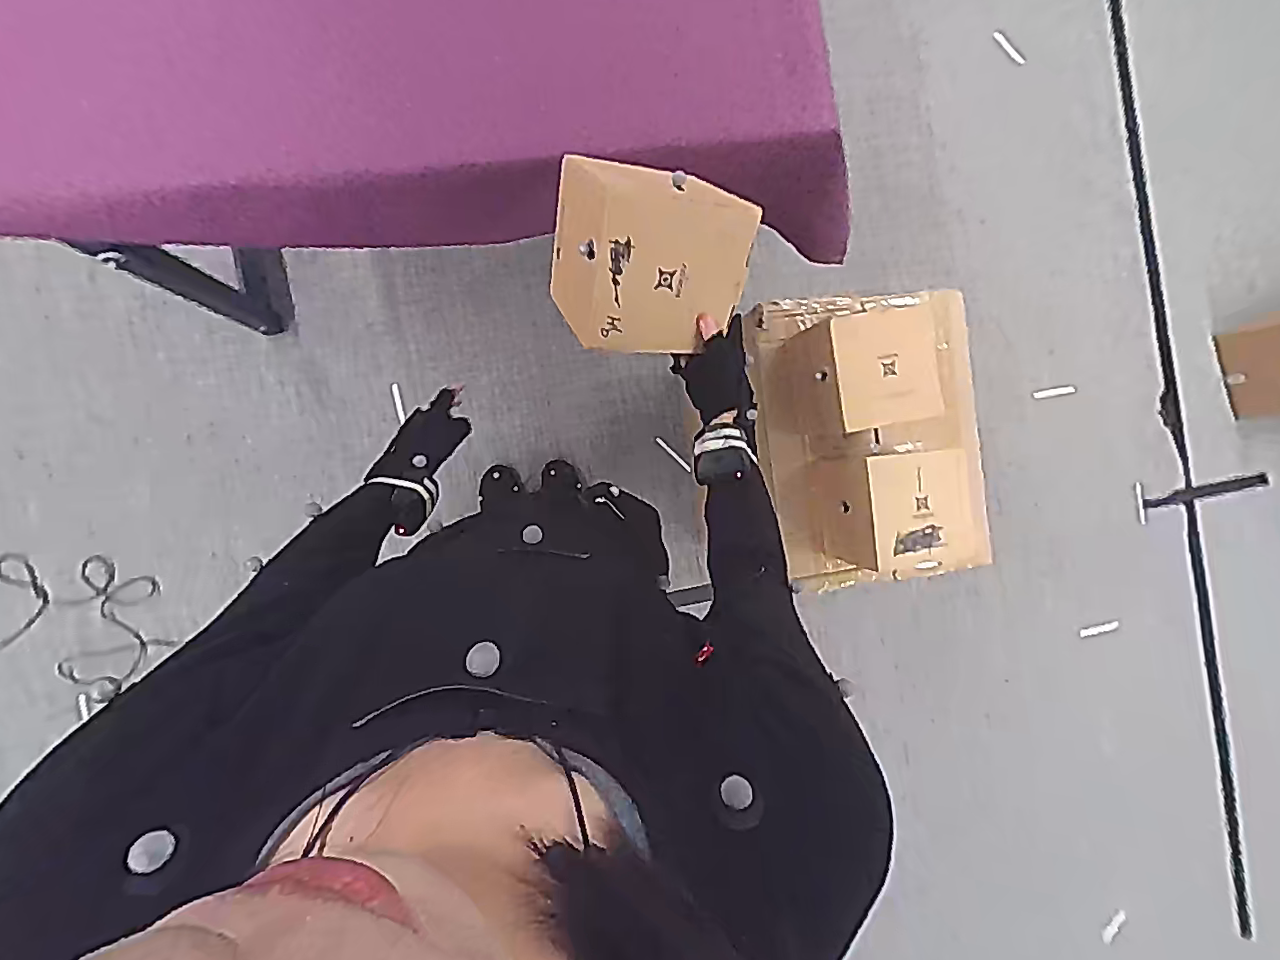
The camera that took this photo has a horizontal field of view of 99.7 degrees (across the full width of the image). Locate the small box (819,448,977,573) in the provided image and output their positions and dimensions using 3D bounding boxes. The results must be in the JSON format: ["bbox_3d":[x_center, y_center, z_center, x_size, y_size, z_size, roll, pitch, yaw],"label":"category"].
[{"bbox_3d":[0.414,0.045,0.891,0.168,0.176,0.179,-6,90,-8],"label":"small box"}]

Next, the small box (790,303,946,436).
[{"bbox_3d":[0.360,-0.171,0.881,0.168,0.176,0.179,-9,94,-7],"label":"small box"}]

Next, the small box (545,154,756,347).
[{"bbox_3d":[0.000,-0.268,0.633,0.179,0.176,0.168,-4,127,-23],"label":"small box"}]
